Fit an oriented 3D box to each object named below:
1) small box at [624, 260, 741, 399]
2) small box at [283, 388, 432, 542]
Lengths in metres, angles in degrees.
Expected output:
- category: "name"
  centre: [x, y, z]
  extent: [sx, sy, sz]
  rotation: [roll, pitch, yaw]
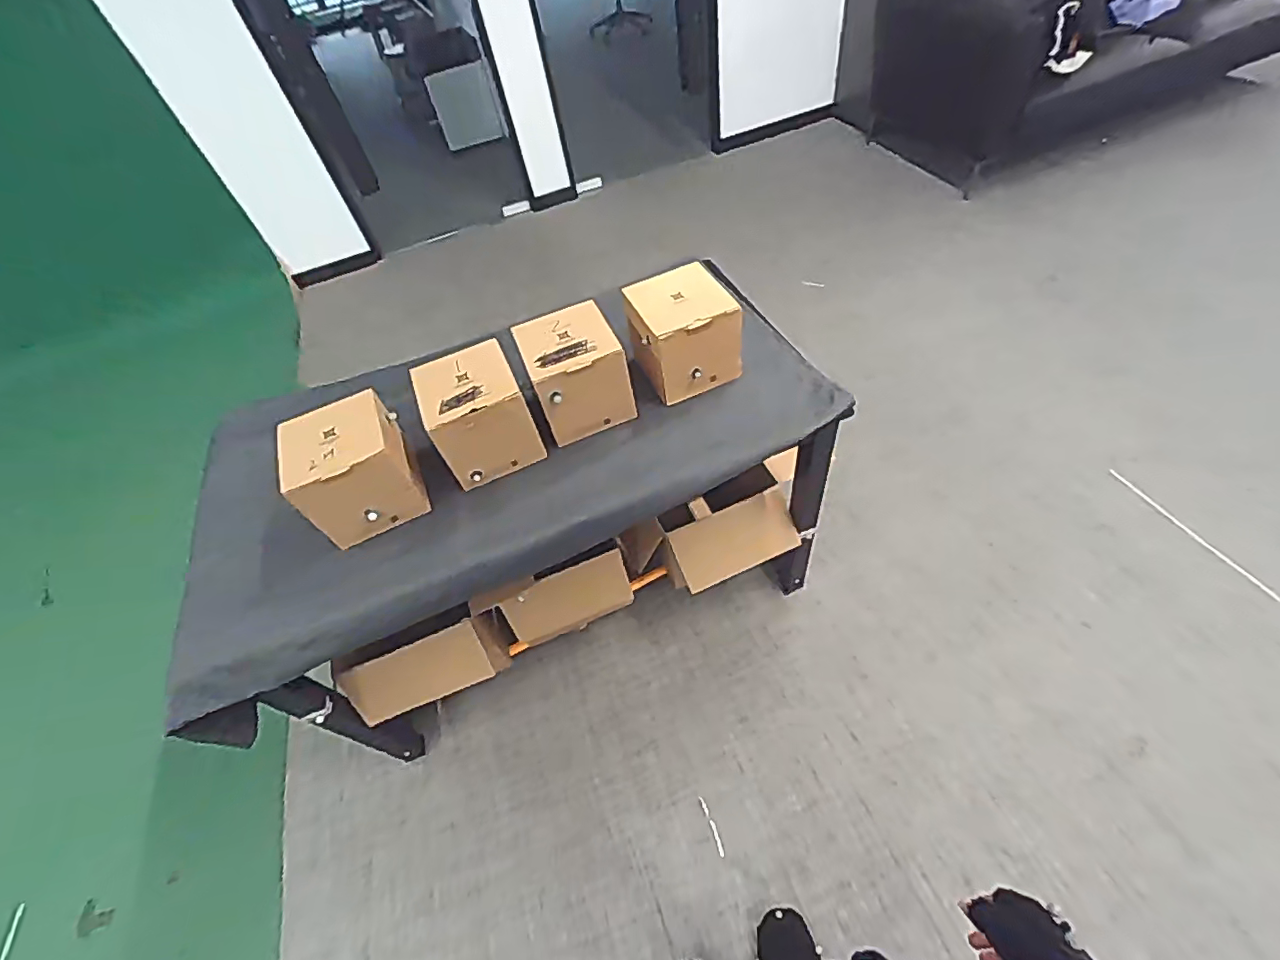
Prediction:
- category: "small box"
  centre: [0.083, -0.290, 1.053]
  extent: [0.168, 0.176, 0.179]
  rotation: [-23, 53, -8]
- category: "small box"
  centre: [-0.492, -0.024, 0.950]
  extent: [0.168, 0.176, 0.179]
  rotation: [-26, 53, -9]
